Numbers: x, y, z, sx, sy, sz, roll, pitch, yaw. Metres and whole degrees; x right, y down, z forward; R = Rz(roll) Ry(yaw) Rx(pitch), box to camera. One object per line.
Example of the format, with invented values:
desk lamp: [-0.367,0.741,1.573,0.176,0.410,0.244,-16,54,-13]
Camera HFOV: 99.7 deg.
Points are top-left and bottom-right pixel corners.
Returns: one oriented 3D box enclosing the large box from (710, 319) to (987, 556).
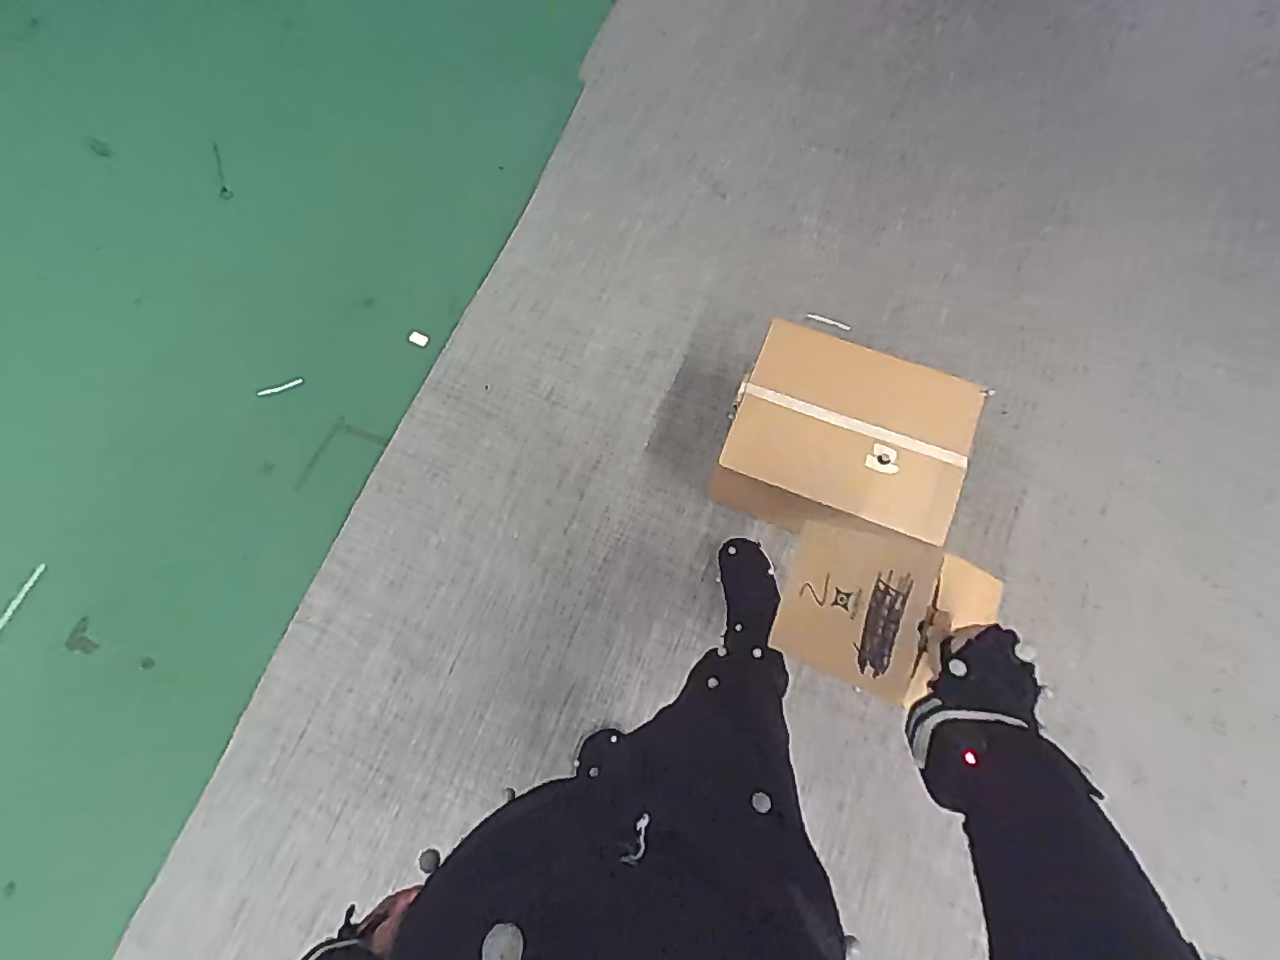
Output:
large box: [0.390,-0.067,1.107,0.408,0.320,0.320,21,79,7]
